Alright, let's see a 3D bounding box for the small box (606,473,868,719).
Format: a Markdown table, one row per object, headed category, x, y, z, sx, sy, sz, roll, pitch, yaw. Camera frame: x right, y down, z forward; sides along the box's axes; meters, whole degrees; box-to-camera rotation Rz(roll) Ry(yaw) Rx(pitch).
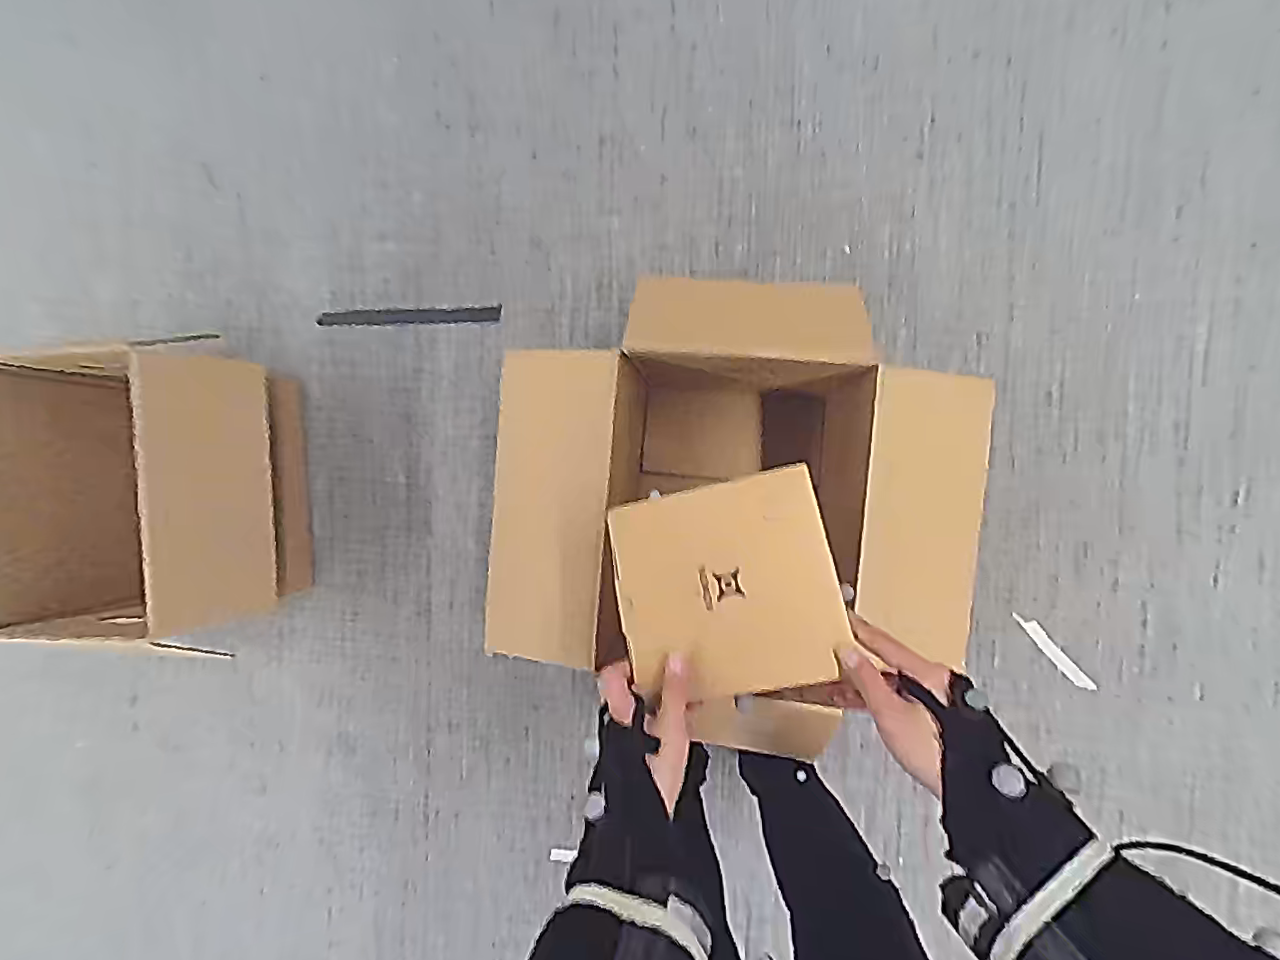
| category | x | y | z | sx | sy | sz | roll | pitch | yaw |
| --- | --- | --- | --- | --- | --- | --- | --- | --- | --- |
| small box | 0.087 | 0.106 | 0.498 | 0.179 | 0.176 | 0.168 | -15 | 73 | 12 |
